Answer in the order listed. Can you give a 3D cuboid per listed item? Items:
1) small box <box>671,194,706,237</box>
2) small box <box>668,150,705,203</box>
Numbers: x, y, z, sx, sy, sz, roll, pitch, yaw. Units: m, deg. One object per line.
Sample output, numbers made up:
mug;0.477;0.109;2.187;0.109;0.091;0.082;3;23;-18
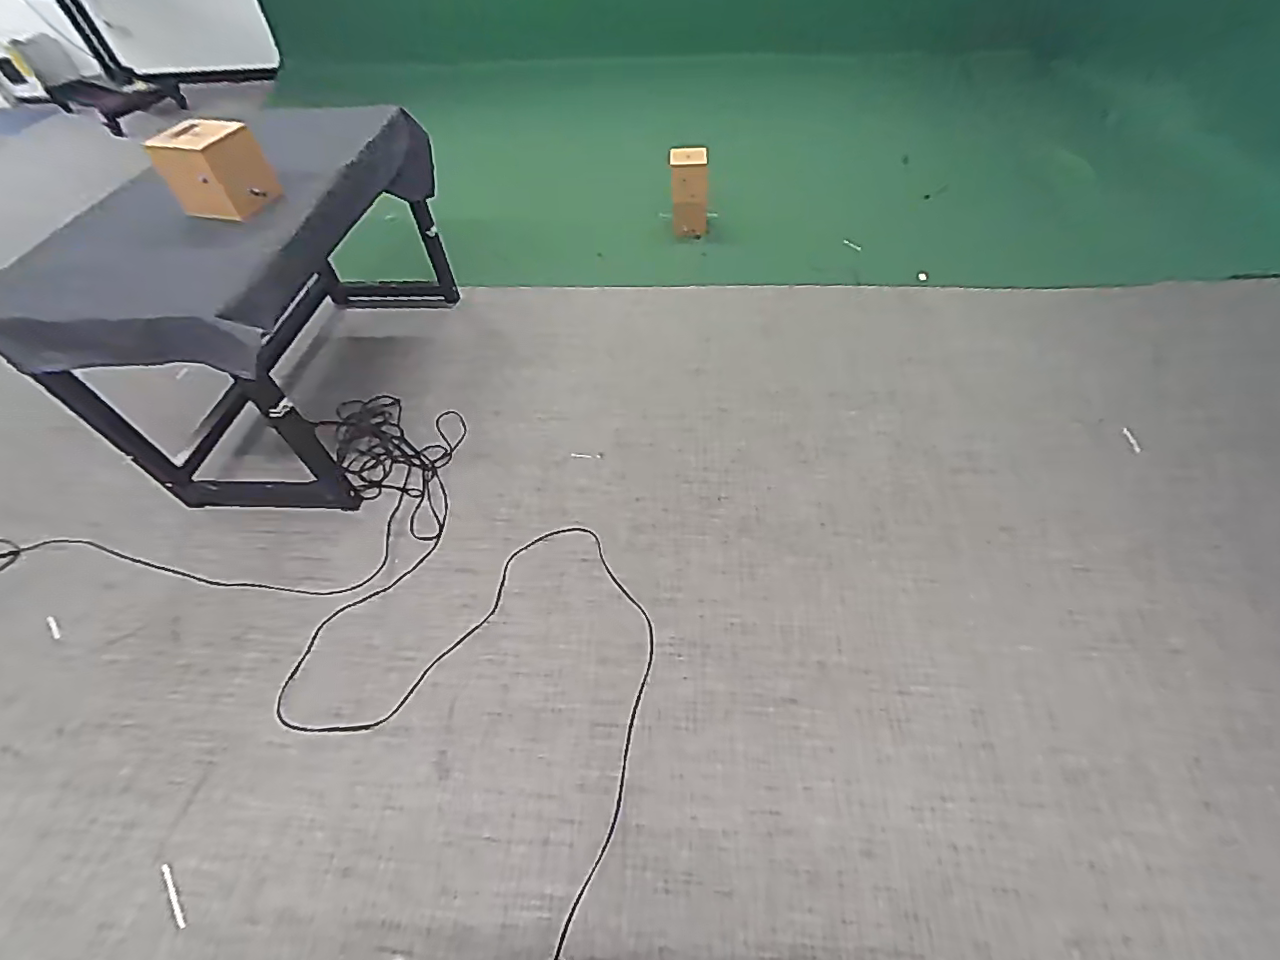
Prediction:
small box;0.236;-1.314;2.651;0.168;0.176;0.179;0;52;5
small box;0.218;-1.412;2.521;0.168;0.176;0.179;0;51;4
